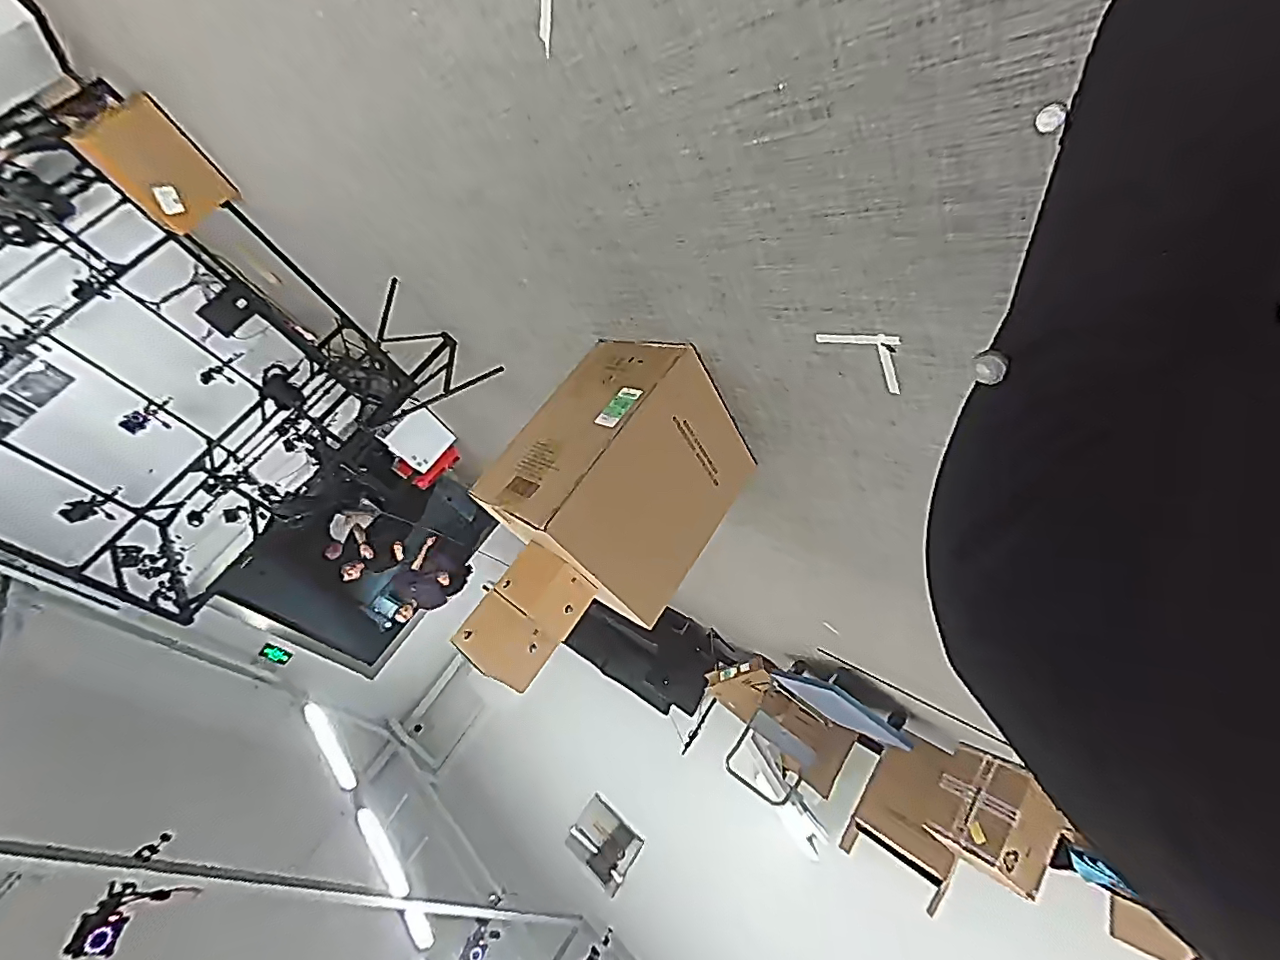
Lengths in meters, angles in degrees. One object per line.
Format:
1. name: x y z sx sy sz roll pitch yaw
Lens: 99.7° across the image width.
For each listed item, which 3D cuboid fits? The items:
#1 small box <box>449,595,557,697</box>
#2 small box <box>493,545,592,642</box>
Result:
1. small box: -0.351 0.421 1.402 0.179 0.176 0.168 21 158 41
2. small box: -0.251 0.297 1.447 0.179 0.176 0.168 20 157 44
